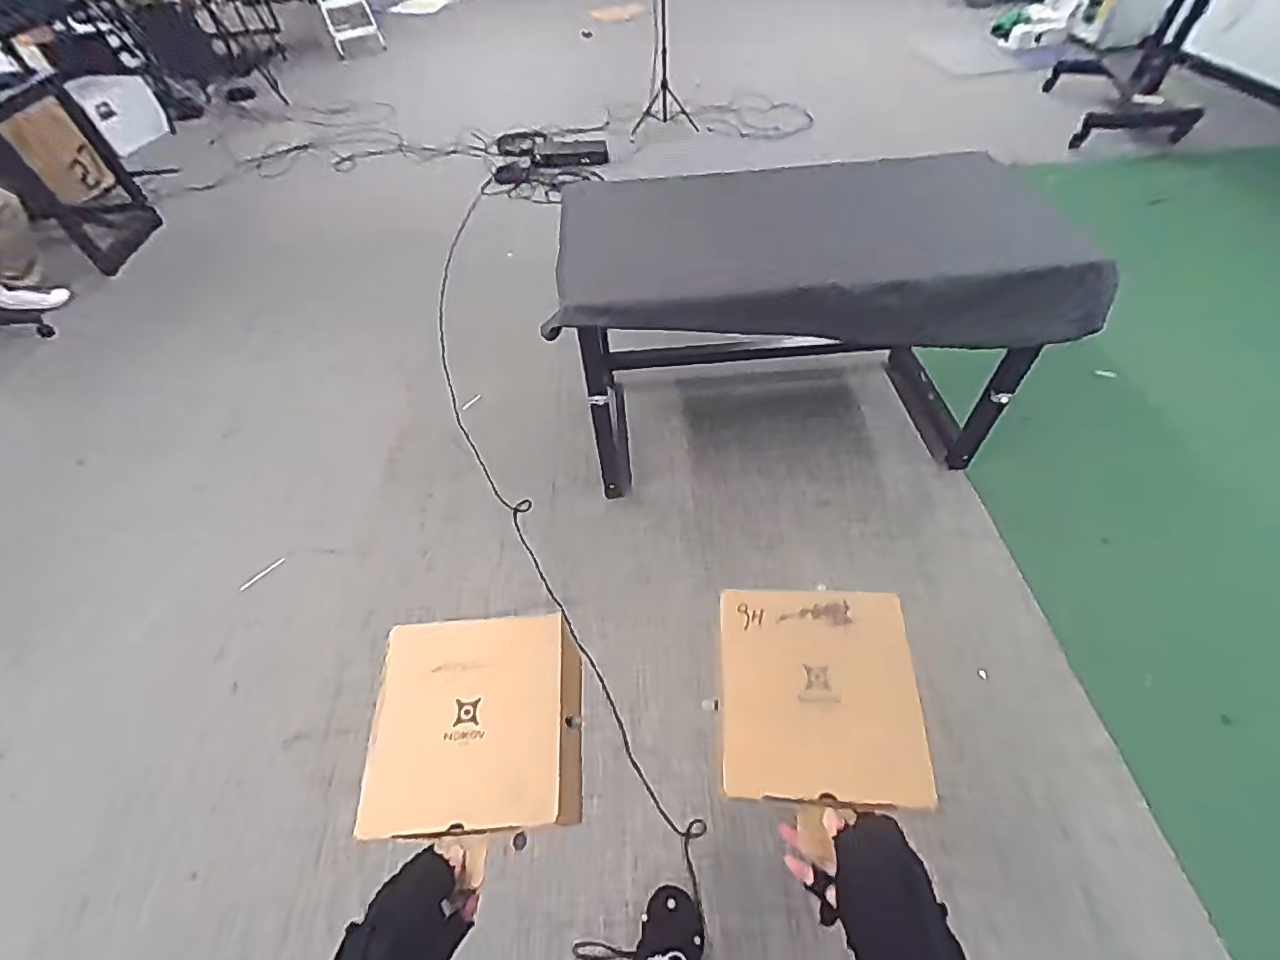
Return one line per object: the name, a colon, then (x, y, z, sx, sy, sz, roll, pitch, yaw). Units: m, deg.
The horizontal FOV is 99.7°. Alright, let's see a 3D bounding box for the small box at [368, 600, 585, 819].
small box: (-0.146, 0.237, 0.553, 0.168, 0.176, 0.179, -3, 59, -2)
